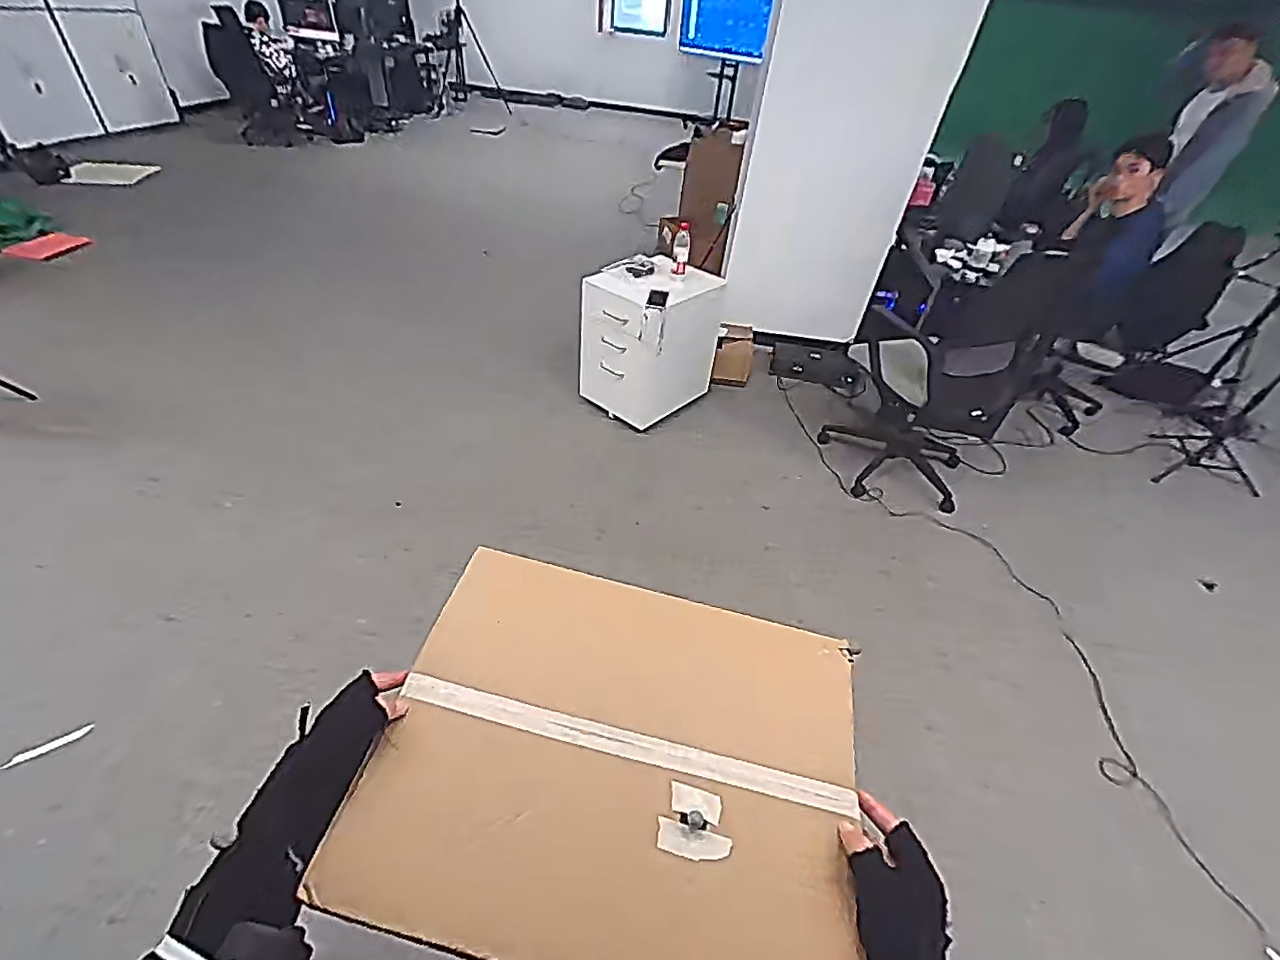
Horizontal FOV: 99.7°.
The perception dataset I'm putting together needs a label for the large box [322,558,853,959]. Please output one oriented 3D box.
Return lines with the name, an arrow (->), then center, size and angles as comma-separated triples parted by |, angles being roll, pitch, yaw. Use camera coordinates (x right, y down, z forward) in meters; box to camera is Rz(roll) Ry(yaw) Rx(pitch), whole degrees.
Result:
large box -> -0.033, 0.336, 0.593 | 0.408, 0.320, 0.320 | 14, 47, 3
